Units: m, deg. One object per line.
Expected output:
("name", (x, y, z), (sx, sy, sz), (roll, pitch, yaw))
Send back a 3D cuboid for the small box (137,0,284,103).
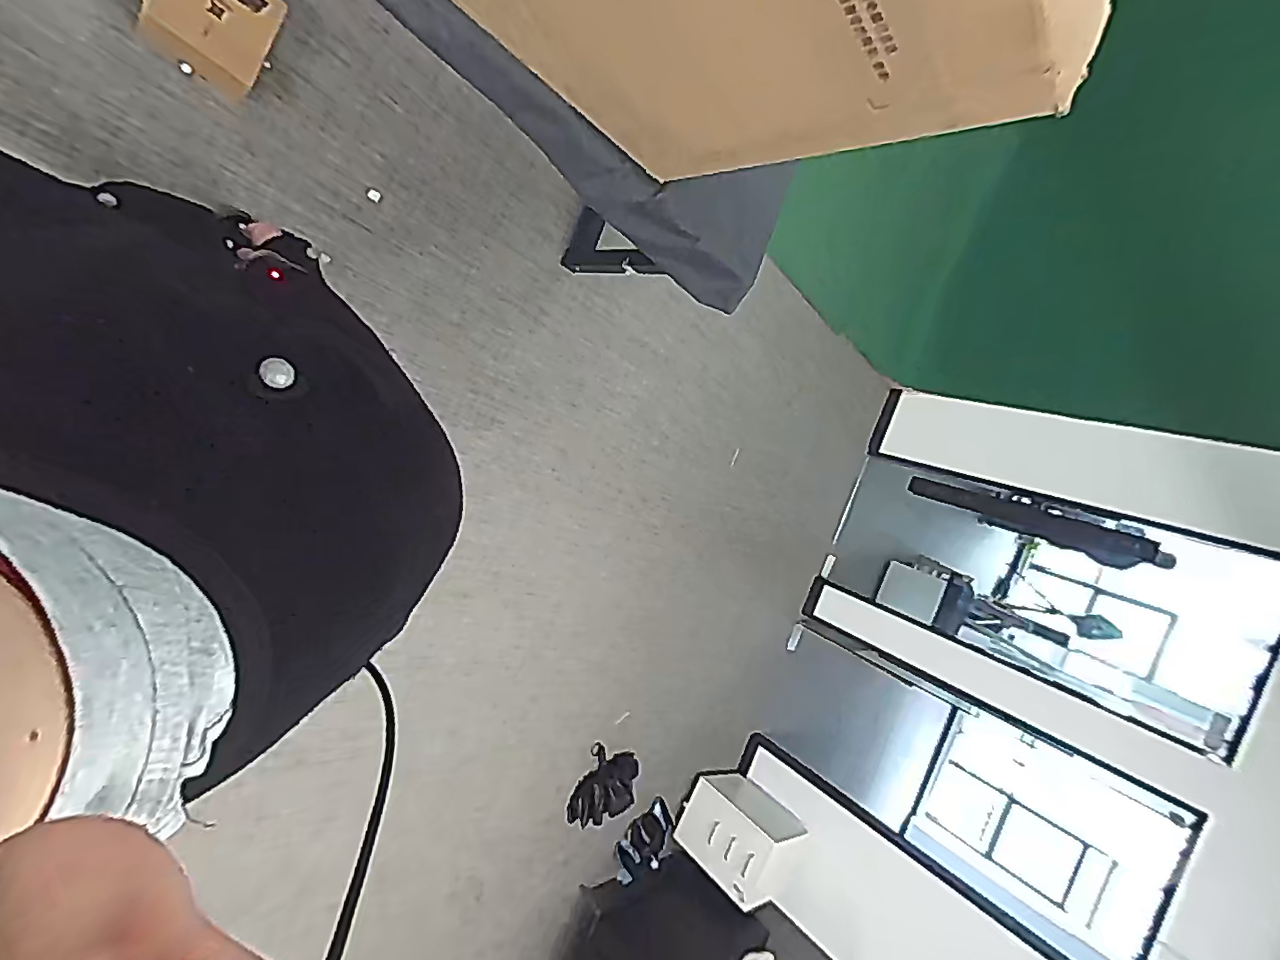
("small box", (-0.815, -0.863, 1.021), (0.168, 0.176, 0.179), (25, 89, -46))
